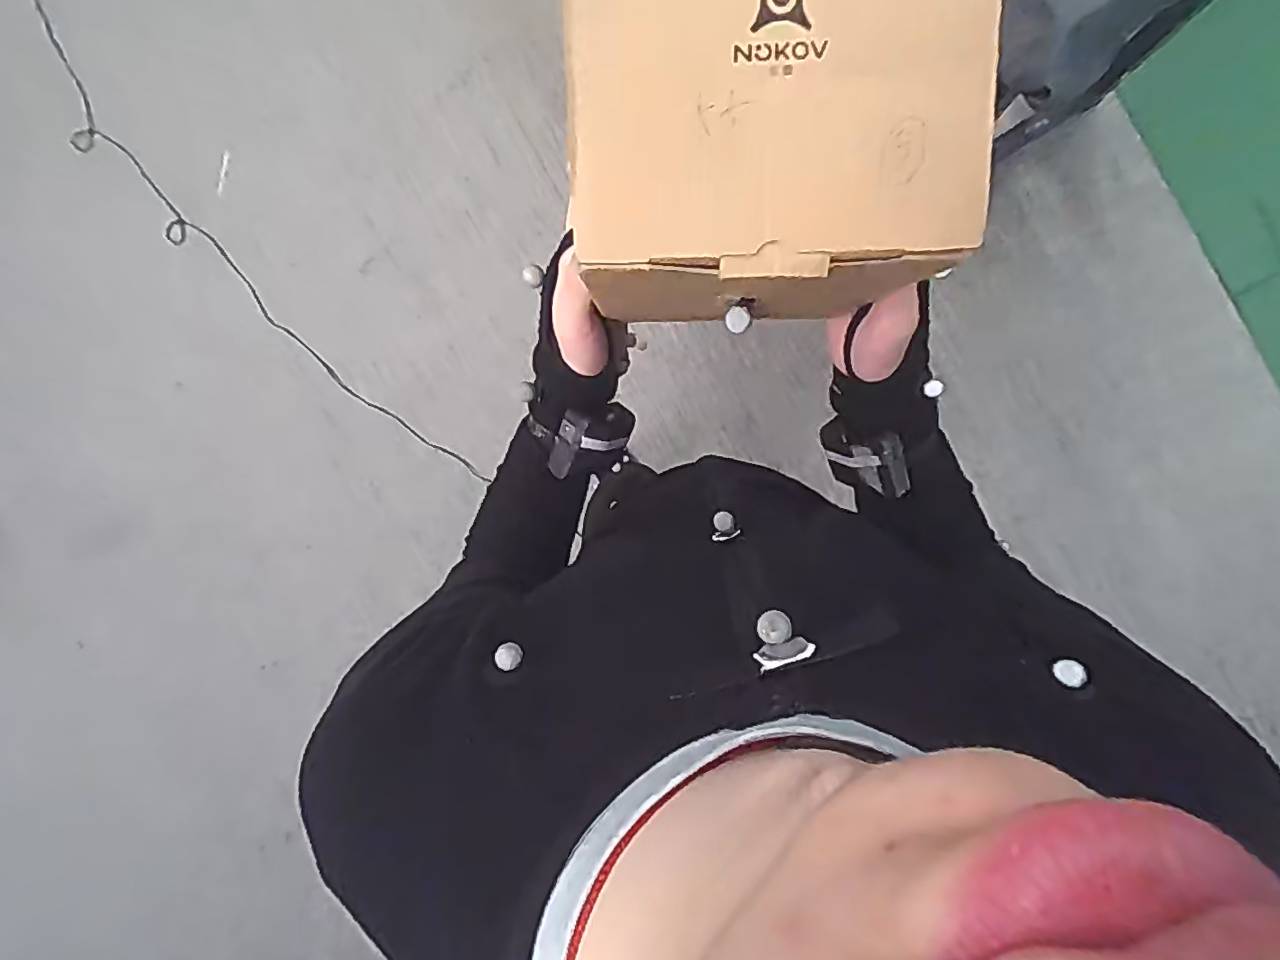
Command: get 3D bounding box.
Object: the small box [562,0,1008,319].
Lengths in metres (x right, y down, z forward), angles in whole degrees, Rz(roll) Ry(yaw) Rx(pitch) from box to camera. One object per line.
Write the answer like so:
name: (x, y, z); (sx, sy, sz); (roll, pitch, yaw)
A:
small box: (0.054, -0.180, 0.279); (0.168, 0.176, 0.179); (-1, 100, 0)
